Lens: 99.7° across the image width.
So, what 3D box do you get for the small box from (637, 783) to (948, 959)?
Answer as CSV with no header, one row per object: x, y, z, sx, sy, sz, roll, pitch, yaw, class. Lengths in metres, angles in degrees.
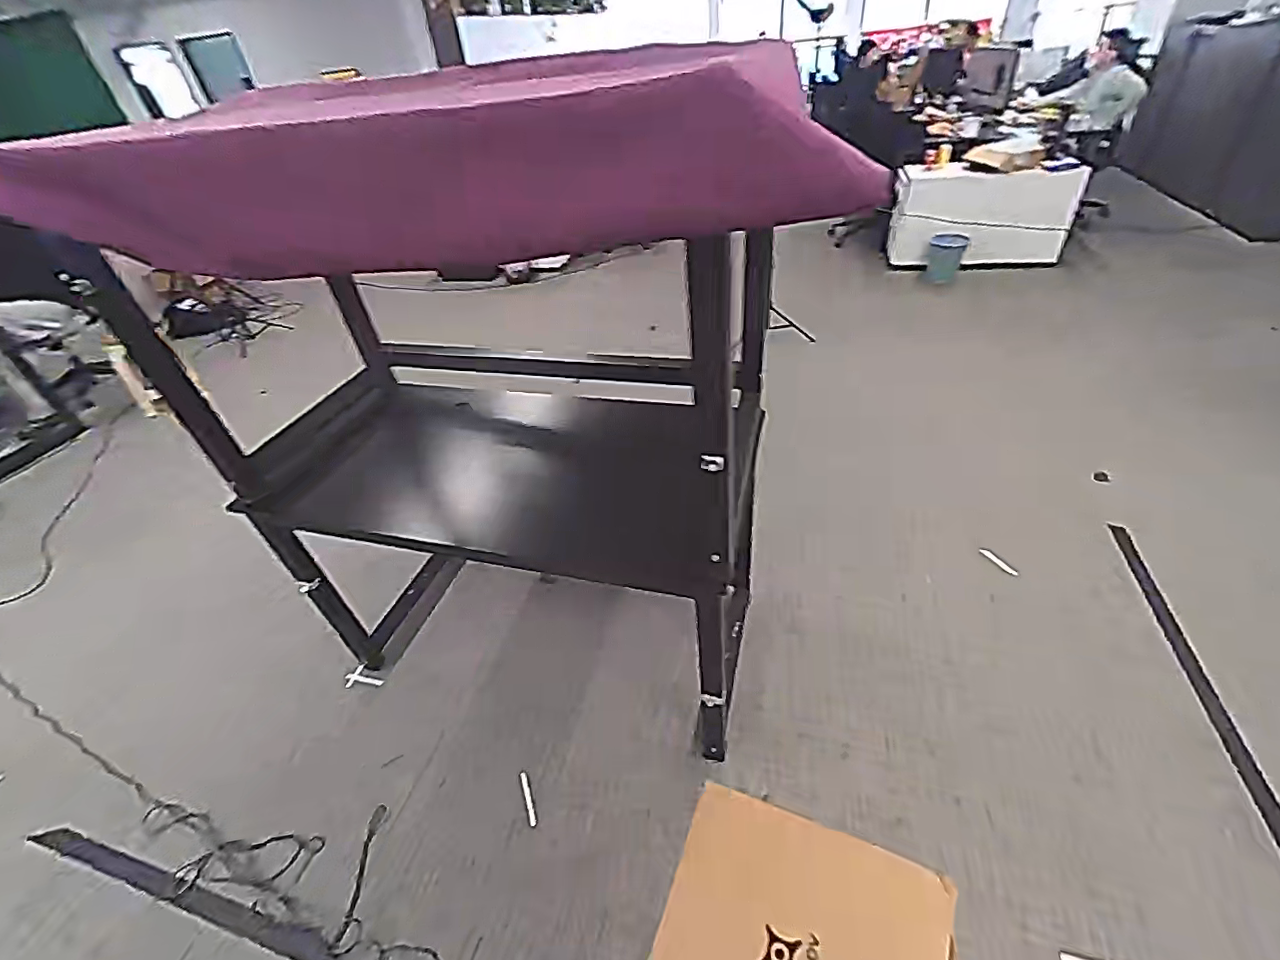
0.106,0.358,0.386,0.179,0.176,0.168,8,48,26,small box
